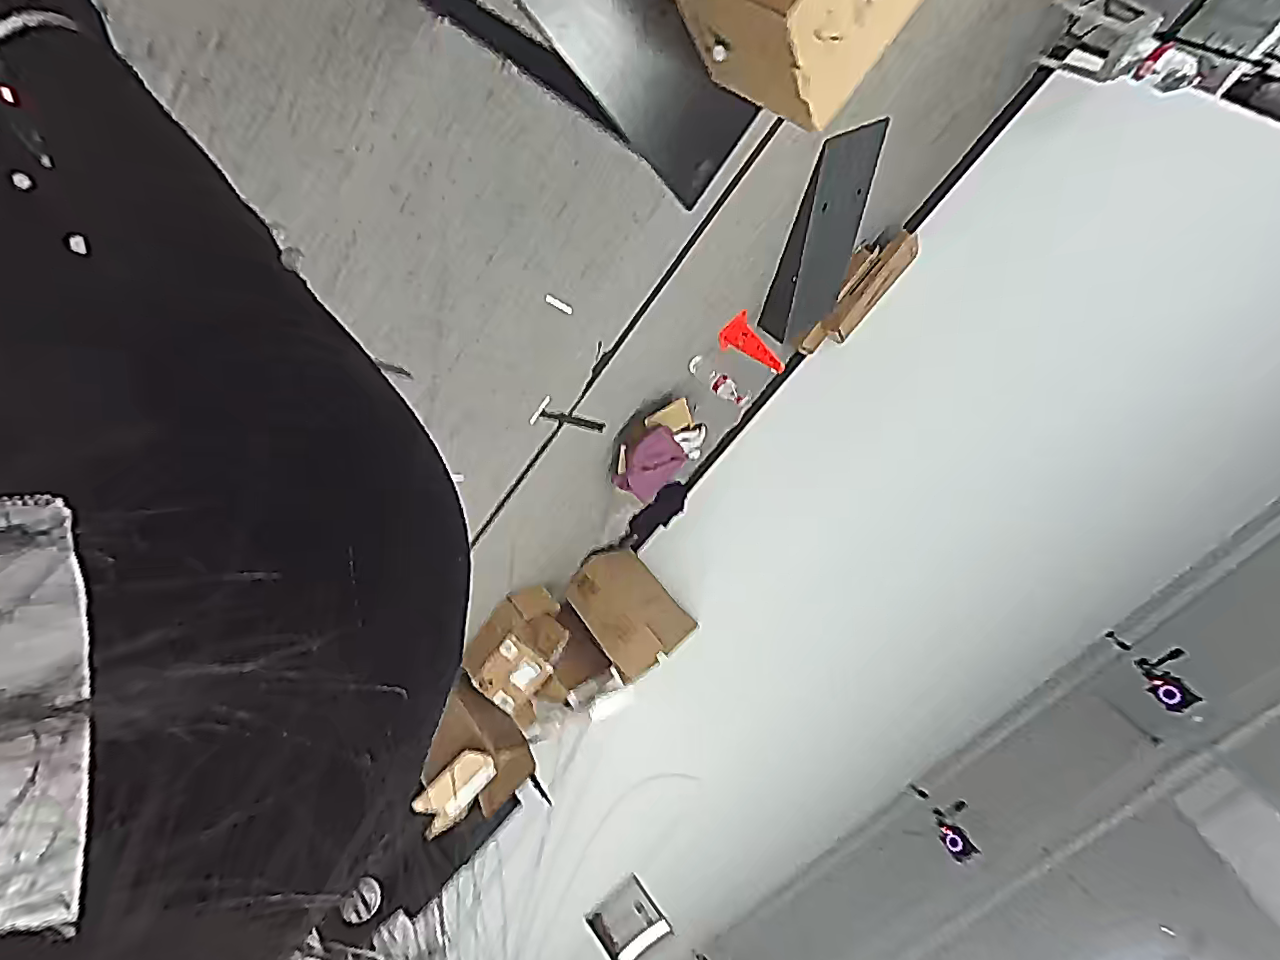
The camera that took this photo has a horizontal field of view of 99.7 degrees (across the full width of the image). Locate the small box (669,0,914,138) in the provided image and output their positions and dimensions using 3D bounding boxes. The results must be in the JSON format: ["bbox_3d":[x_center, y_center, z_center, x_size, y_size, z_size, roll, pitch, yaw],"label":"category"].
[{"bbox_3d":[0.154,-0.508,0.547,0.179,0.176,0.168,-51,157,15],"label":"small box"}]
